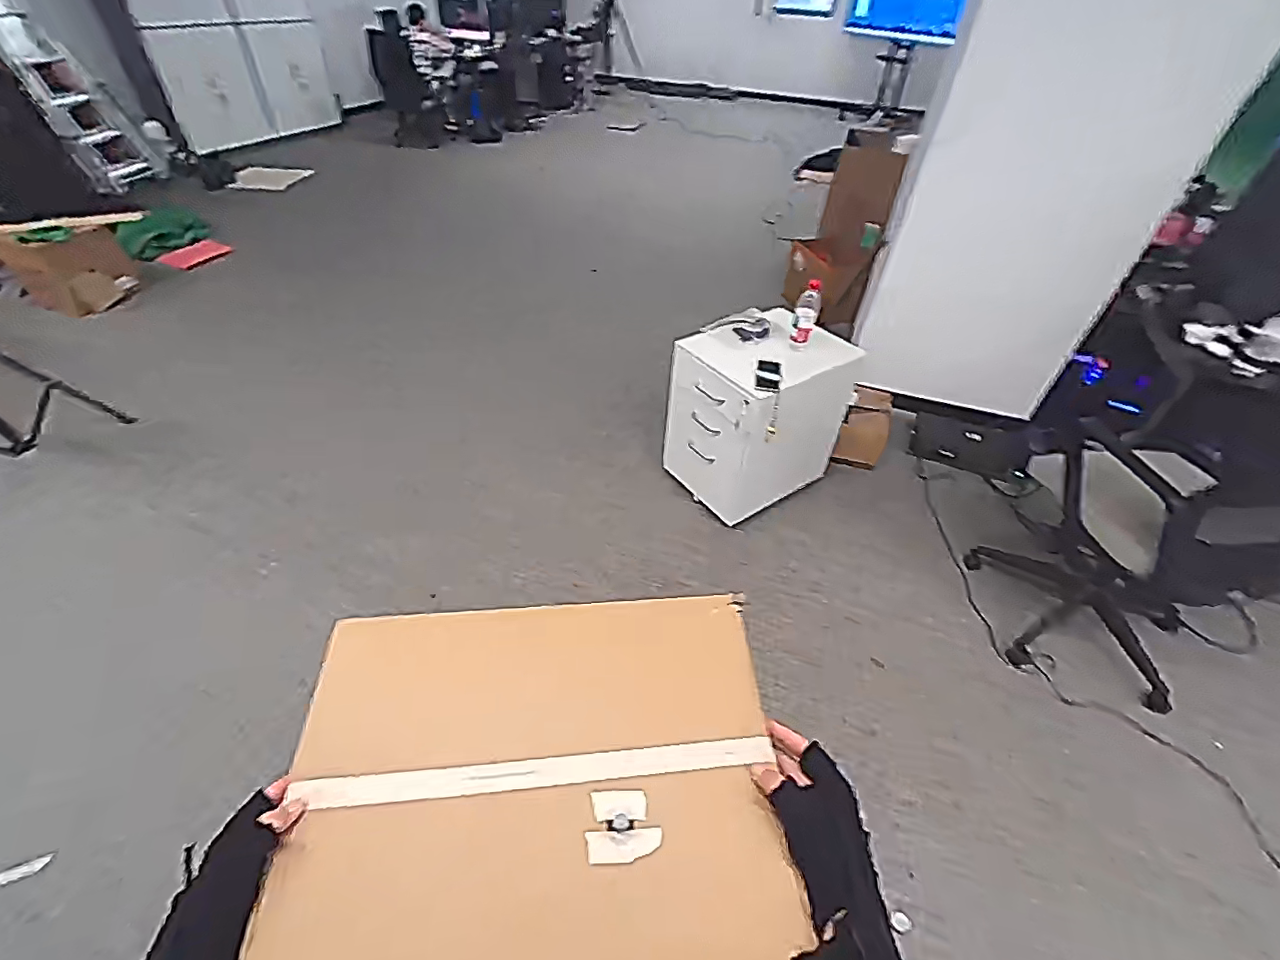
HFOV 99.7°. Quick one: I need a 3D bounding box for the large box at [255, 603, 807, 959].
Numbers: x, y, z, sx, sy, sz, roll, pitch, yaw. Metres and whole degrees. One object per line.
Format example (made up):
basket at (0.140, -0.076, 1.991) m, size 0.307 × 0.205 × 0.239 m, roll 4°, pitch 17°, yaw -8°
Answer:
large box at (-0.100, 0.361, 0.578) m, size 0.408 × 0.320 × 0.320 m, roll -3°, pitch 50°, yaw -8°
